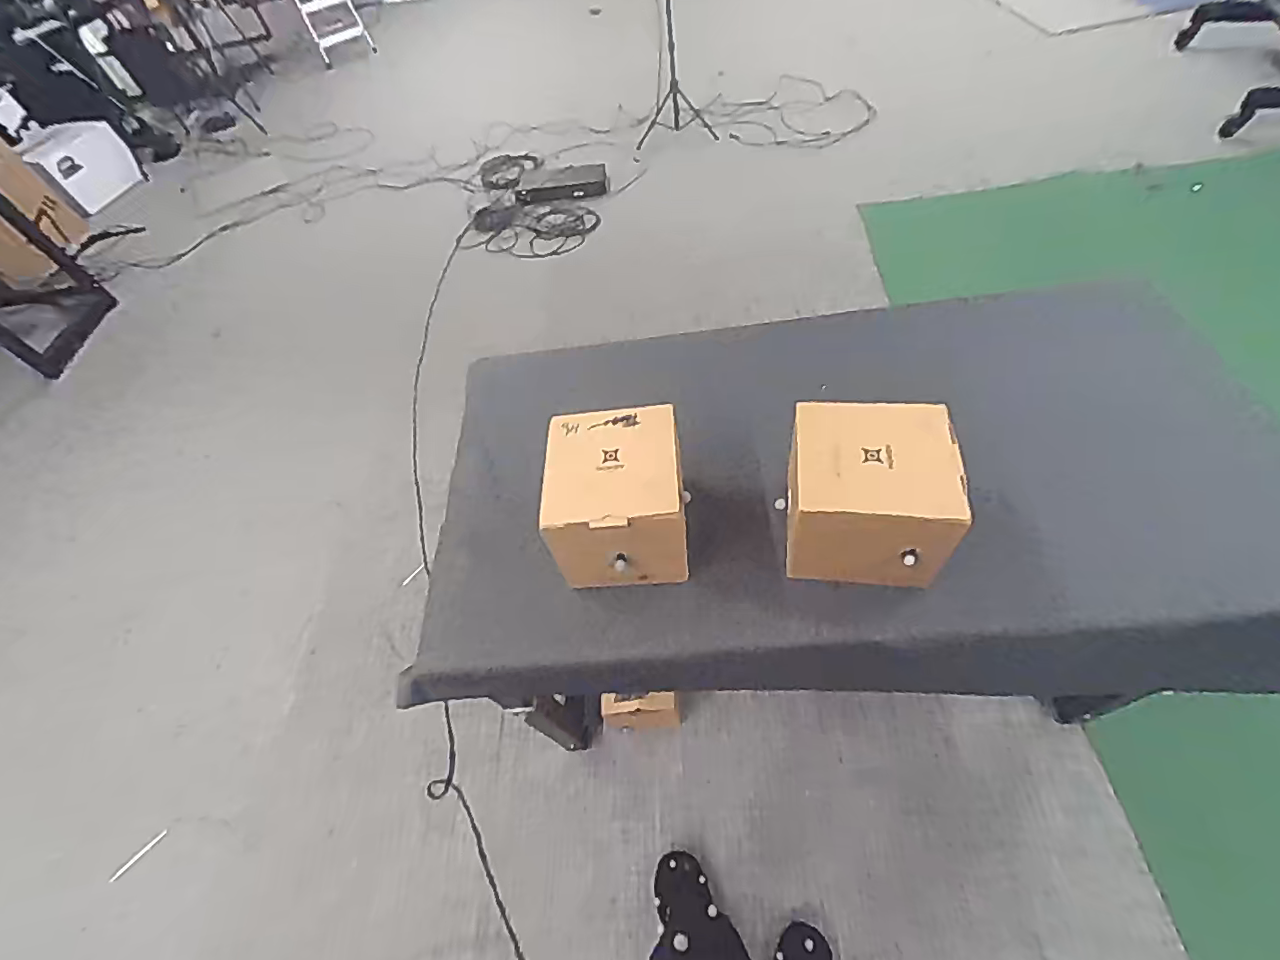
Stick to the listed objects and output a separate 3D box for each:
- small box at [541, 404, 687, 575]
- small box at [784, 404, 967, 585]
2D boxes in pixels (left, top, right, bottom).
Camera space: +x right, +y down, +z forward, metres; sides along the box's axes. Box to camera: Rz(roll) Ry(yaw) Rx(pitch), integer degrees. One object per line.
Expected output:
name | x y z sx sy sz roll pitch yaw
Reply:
small box | -0.024 0.021 0.734 0.168 0.176 0.179 -4 55 6
small box | 0.281 0.023 0.689 0.179 0.176 0.168 3 55 12
